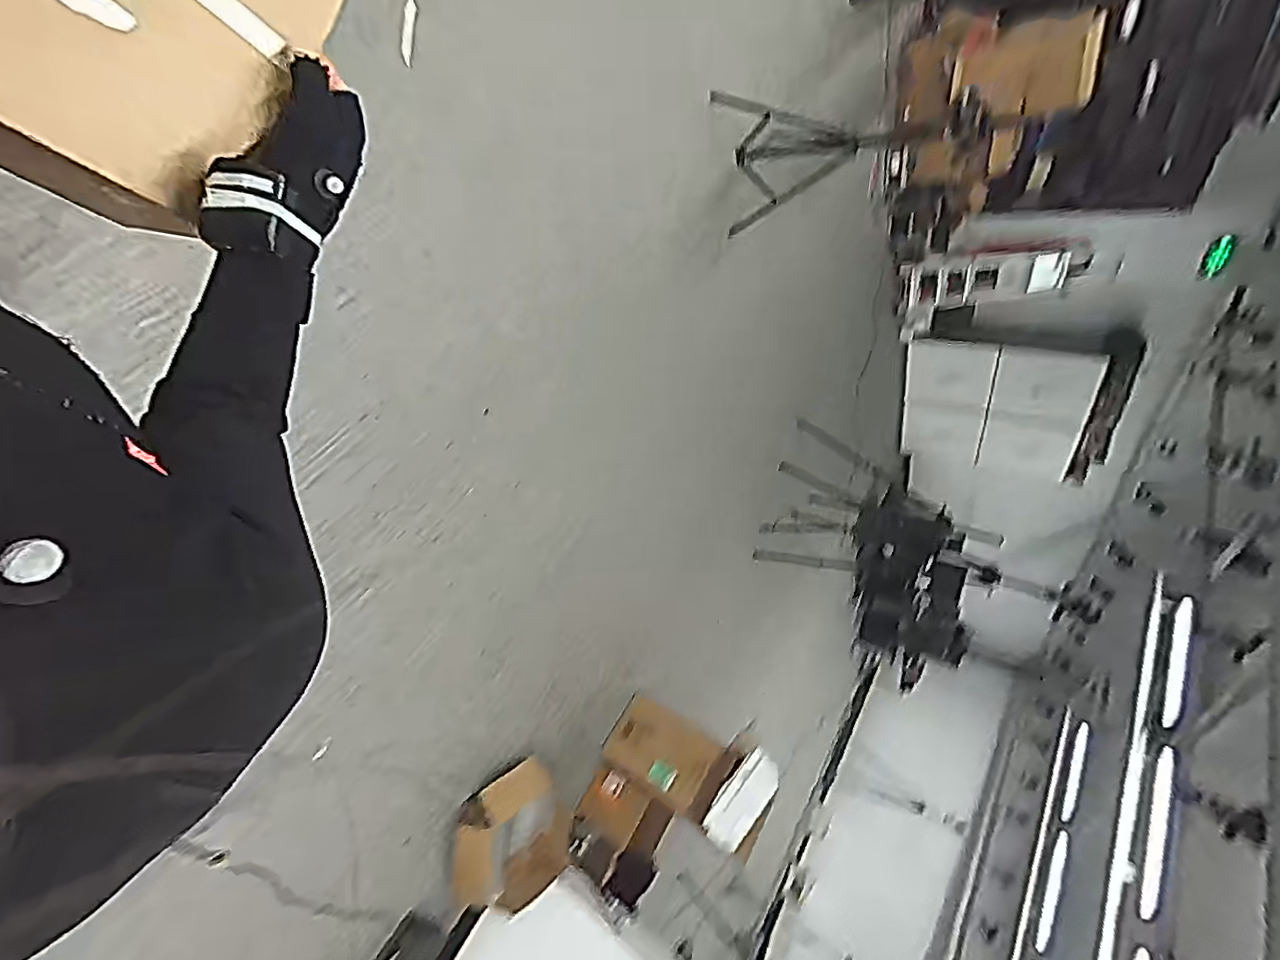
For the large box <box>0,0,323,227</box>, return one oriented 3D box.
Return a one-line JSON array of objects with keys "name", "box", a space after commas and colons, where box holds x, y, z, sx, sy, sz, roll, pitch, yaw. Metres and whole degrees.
[{"name": "large box", "box": [-0.512, -0.433, 0.370, 0.408, 0.320, 0.320, 21, 89, -60]}]
